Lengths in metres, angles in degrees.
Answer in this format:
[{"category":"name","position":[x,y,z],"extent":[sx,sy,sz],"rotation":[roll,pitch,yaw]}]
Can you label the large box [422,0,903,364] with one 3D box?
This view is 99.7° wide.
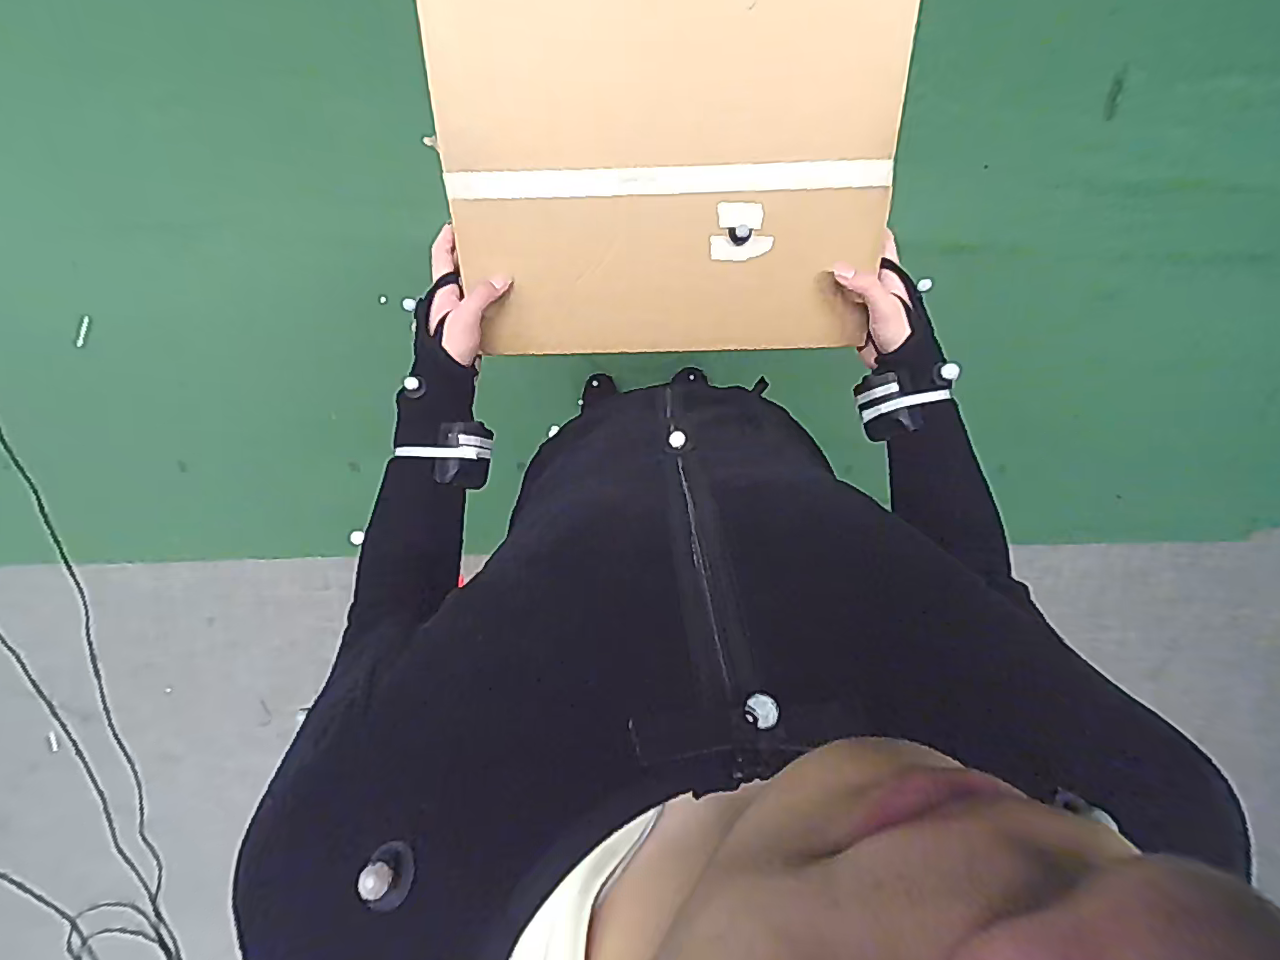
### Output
[{"category":"large box","position":[0.022,-0.335,0.635],"extent":[0.408,0.320,0.320],"rotation":[-3,117,0]}]
